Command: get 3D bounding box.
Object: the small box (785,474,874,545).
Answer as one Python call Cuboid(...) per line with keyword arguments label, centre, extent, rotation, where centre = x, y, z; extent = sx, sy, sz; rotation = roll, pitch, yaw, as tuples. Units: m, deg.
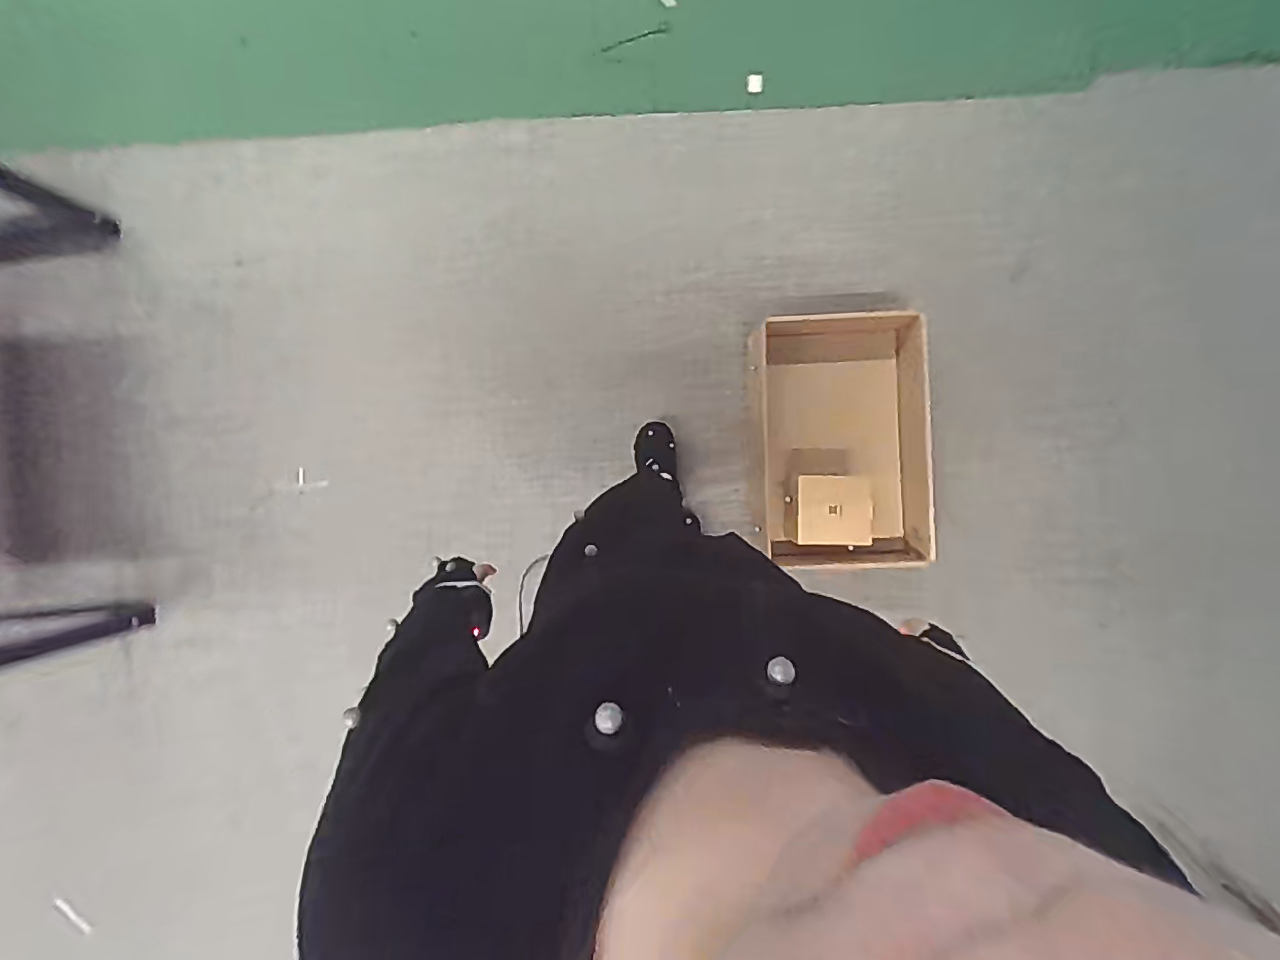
Cuboid(label="small box", centre=(0.467, 0.070, 1.355), extent=(0.179, 0.176, 0.168), rotation=(1, 90, 2))
